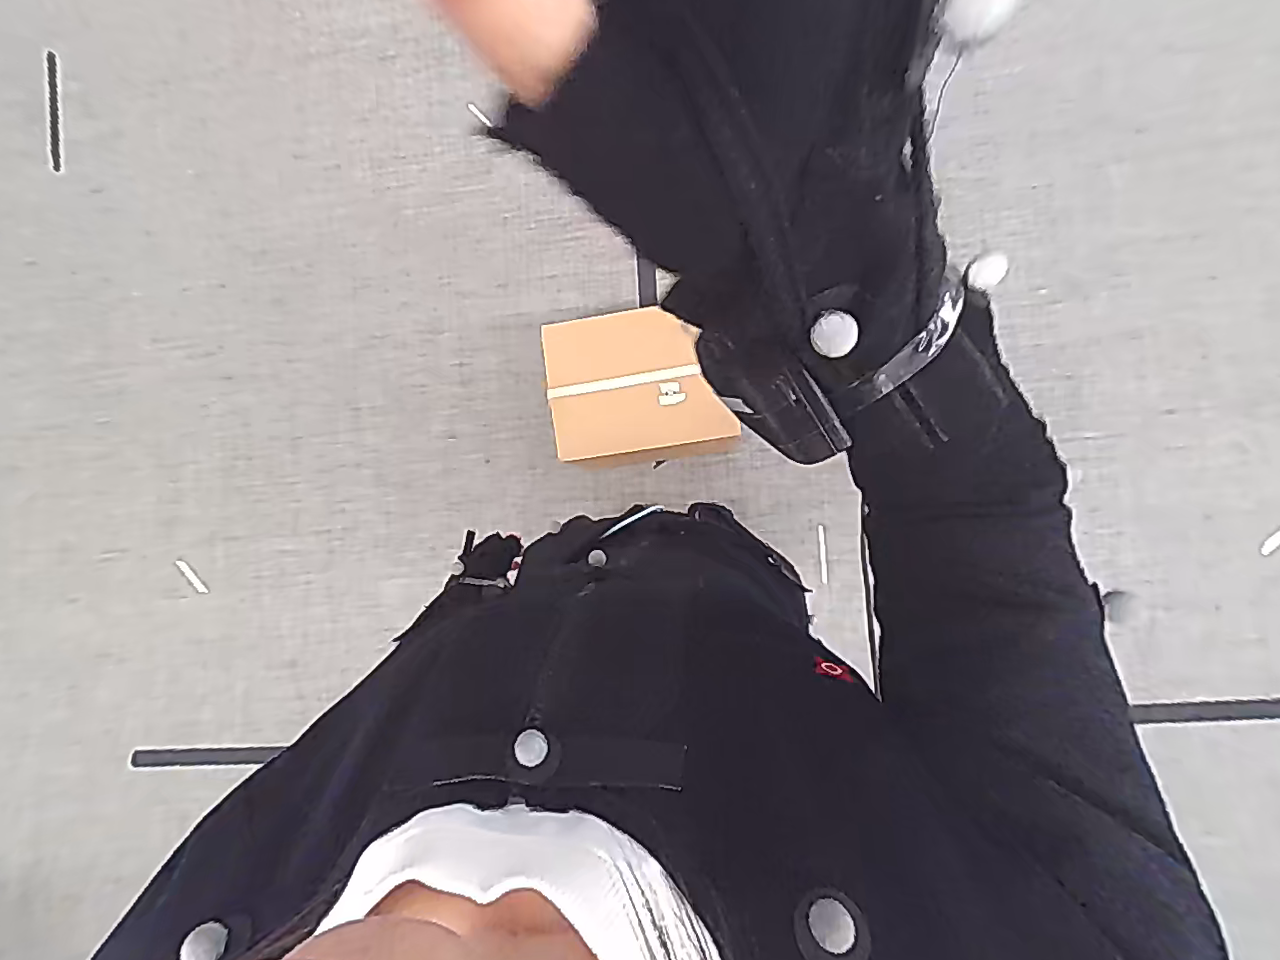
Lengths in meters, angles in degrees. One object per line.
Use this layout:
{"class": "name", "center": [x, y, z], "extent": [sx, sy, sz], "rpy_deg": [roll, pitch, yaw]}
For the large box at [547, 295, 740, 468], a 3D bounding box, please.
{"class": "large box", "center": [0.017, -0.221, 1.349], "extent": [0.408, 0.320, 0.320], "rpy_deg": [-8, 87, 5]}
